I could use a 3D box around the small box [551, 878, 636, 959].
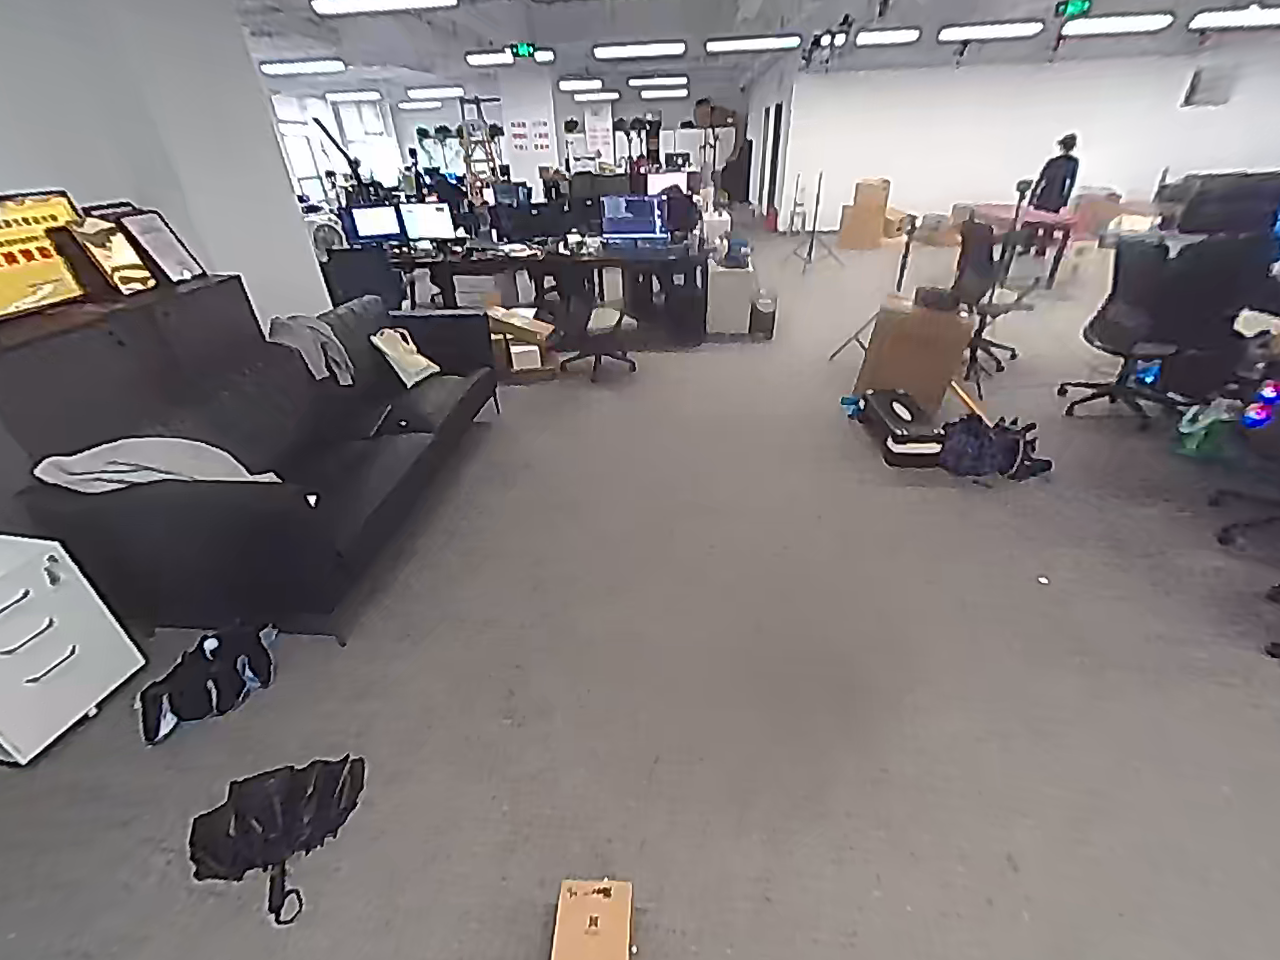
[{"bbox_3d":[-0.097,1.032,1.217,0.168,0.176,0.179,-1,34,3],"label":"small box"}]
